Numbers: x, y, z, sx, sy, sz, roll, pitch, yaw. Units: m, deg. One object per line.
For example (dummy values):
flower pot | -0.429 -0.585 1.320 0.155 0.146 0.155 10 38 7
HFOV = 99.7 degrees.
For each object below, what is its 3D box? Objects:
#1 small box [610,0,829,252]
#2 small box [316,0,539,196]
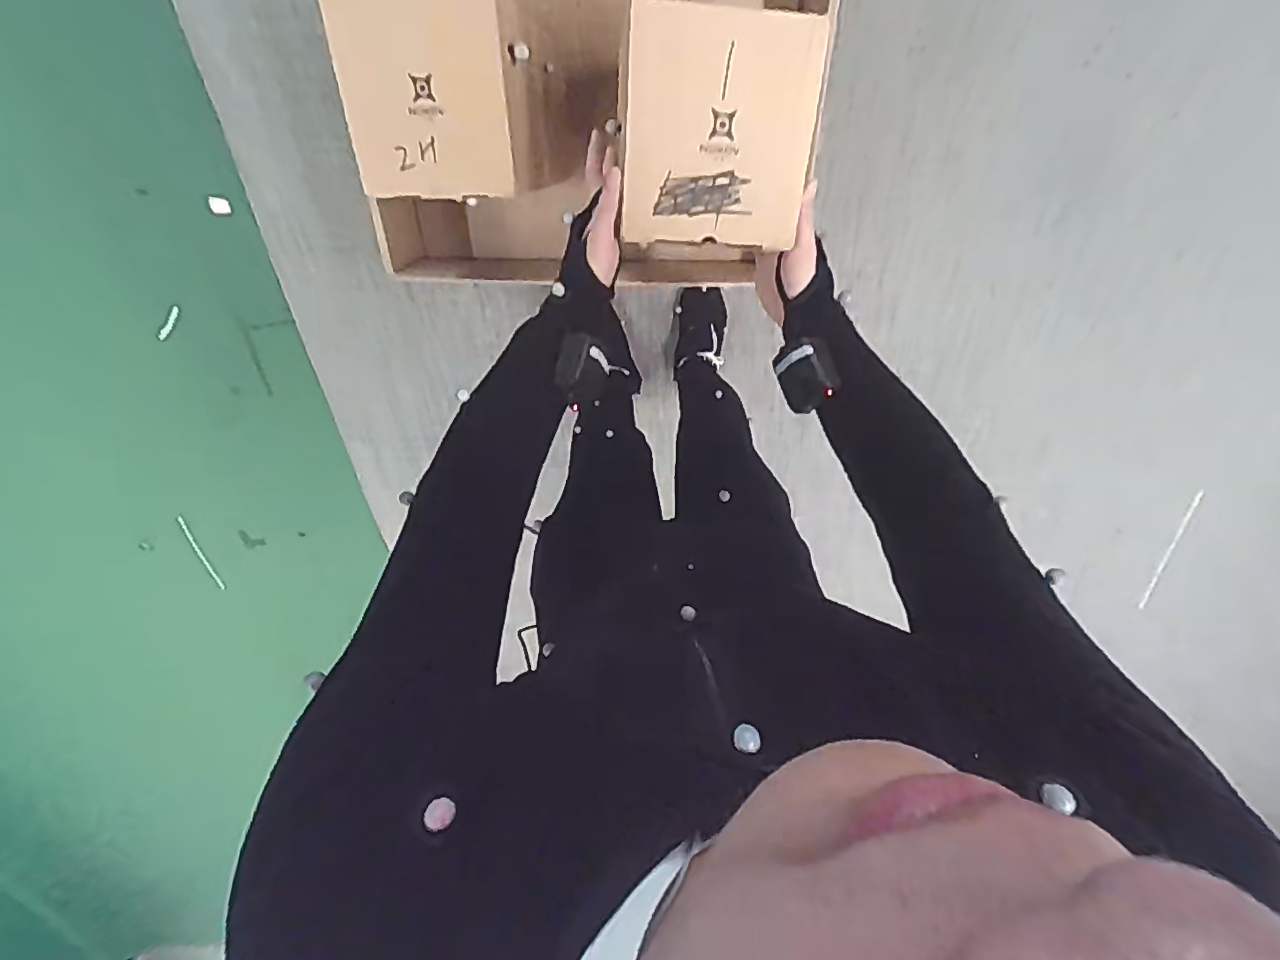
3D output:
small box | 0.057 -0.325 0.524 0.168 0.176 0.179 1 116 -5
small box | -0.213 -0.415 0.595 0.168 0.176 0.179 1 121 2
